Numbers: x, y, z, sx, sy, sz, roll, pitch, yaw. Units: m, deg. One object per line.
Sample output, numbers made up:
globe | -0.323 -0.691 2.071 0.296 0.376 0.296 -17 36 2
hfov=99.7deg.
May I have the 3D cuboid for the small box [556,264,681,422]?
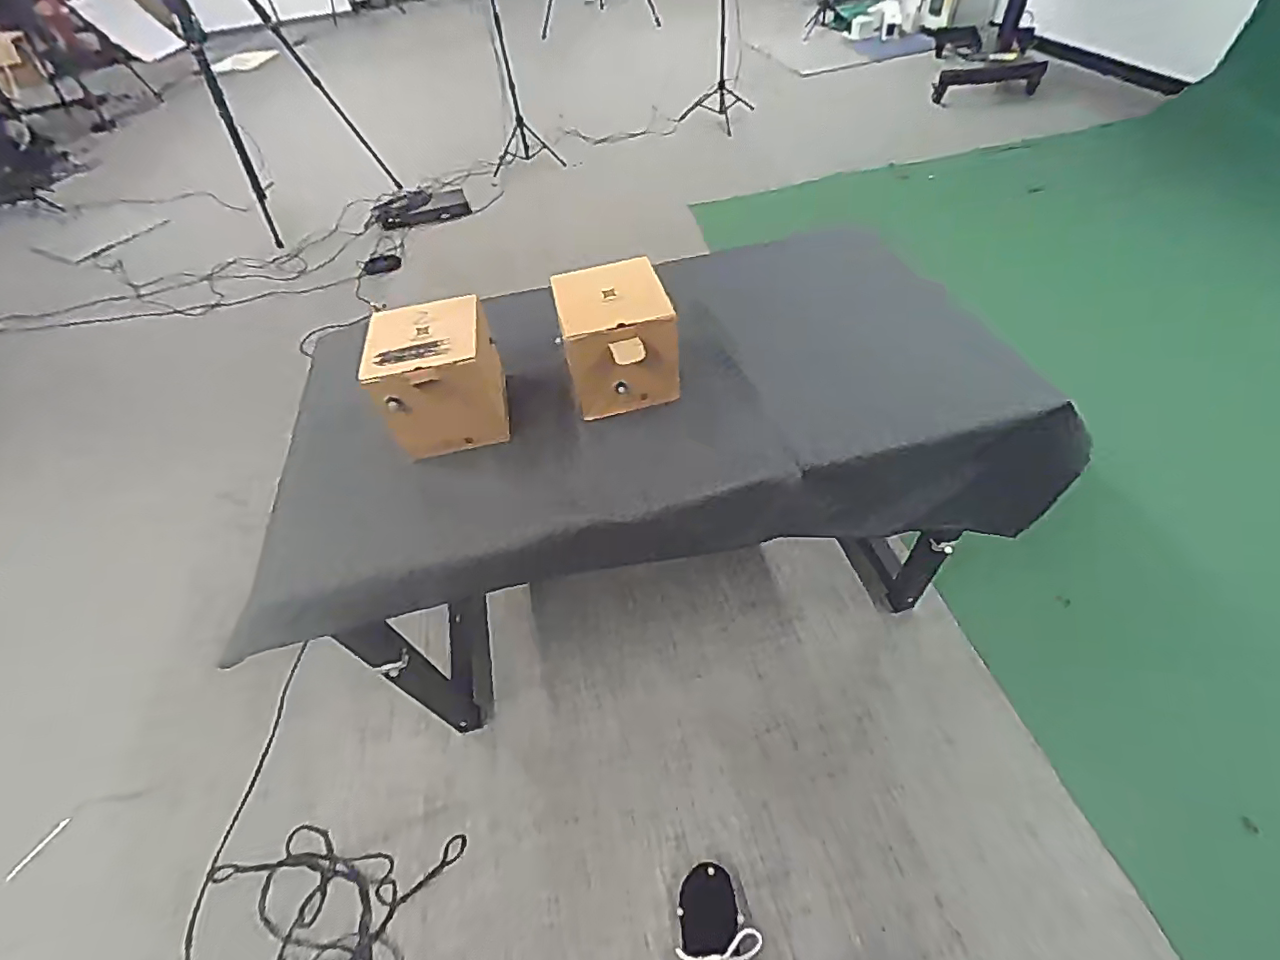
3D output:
small box | -0.033 -0.224 0.889 0.168 0.176 0.179 -14 51 -5
